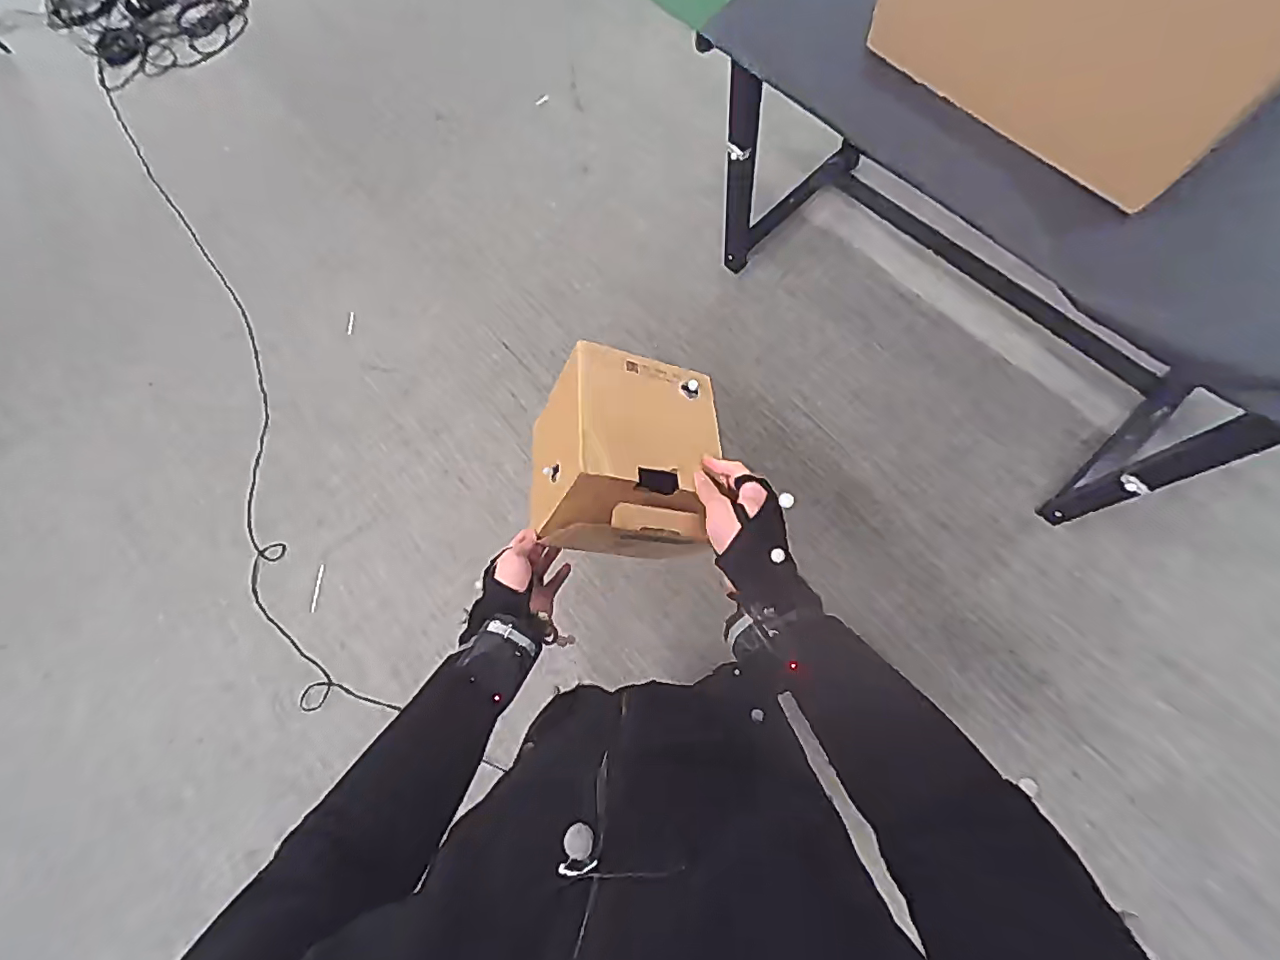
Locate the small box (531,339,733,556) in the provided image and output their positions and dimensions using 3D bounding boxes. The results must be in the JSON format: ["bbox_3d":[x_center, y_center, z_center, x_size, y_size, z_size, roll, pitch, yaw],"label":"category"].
[{"bbox_3d":[-0.020,-0.031,0.618,0.168,0.179,0.176,11,56,-24],"label":"small box"}]
